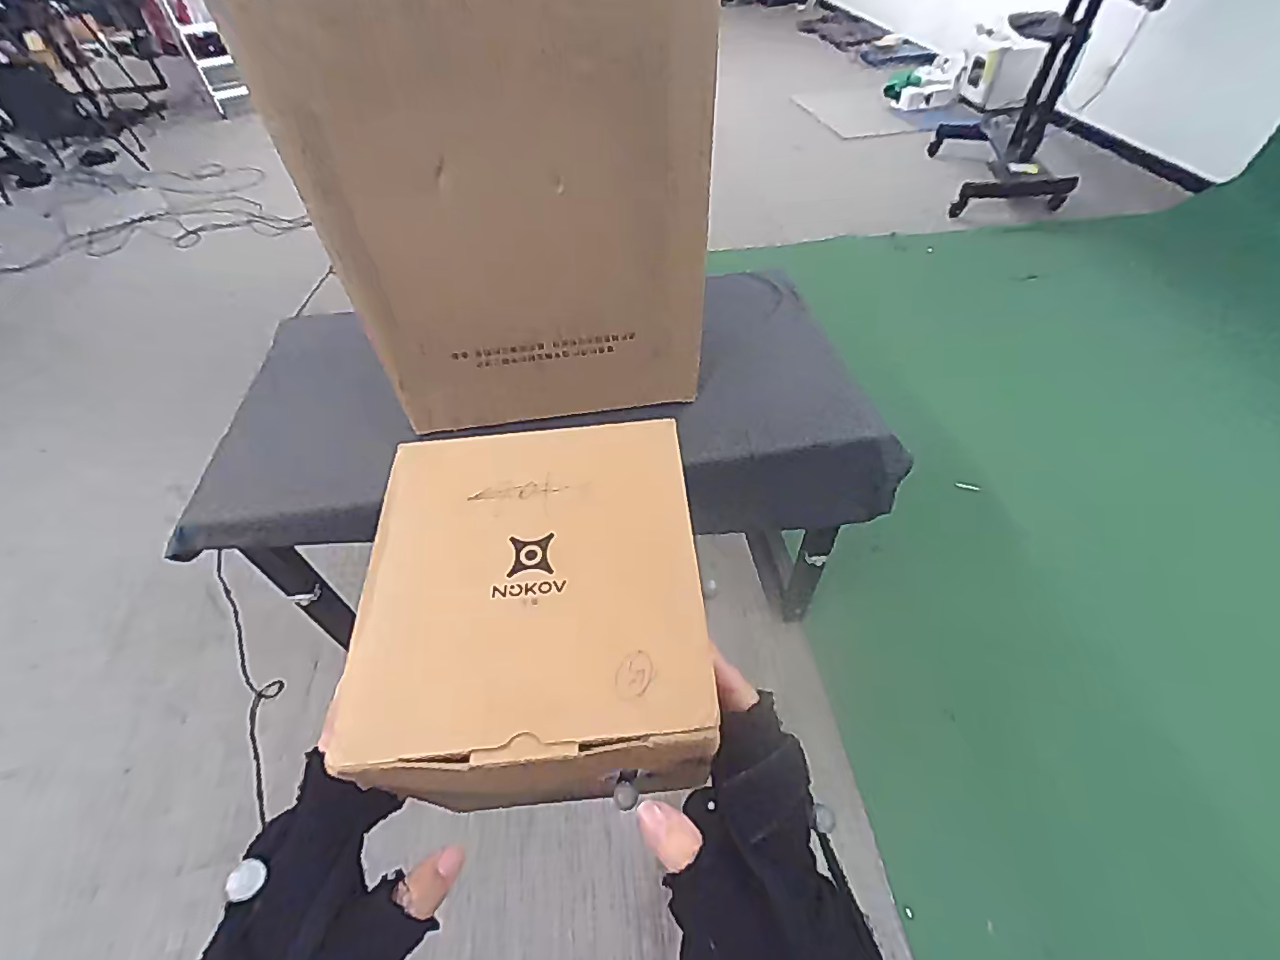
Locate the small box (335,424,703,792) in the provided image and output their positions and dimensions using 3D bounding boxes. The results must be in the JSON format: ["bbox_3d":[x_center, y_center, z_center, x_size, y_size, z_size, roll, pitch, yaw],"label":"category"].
[{"bbox_3d":[-0.054,0.090,0.345,0.168,0.176,0.179,-5,53,-1],"label":"small box"}]
